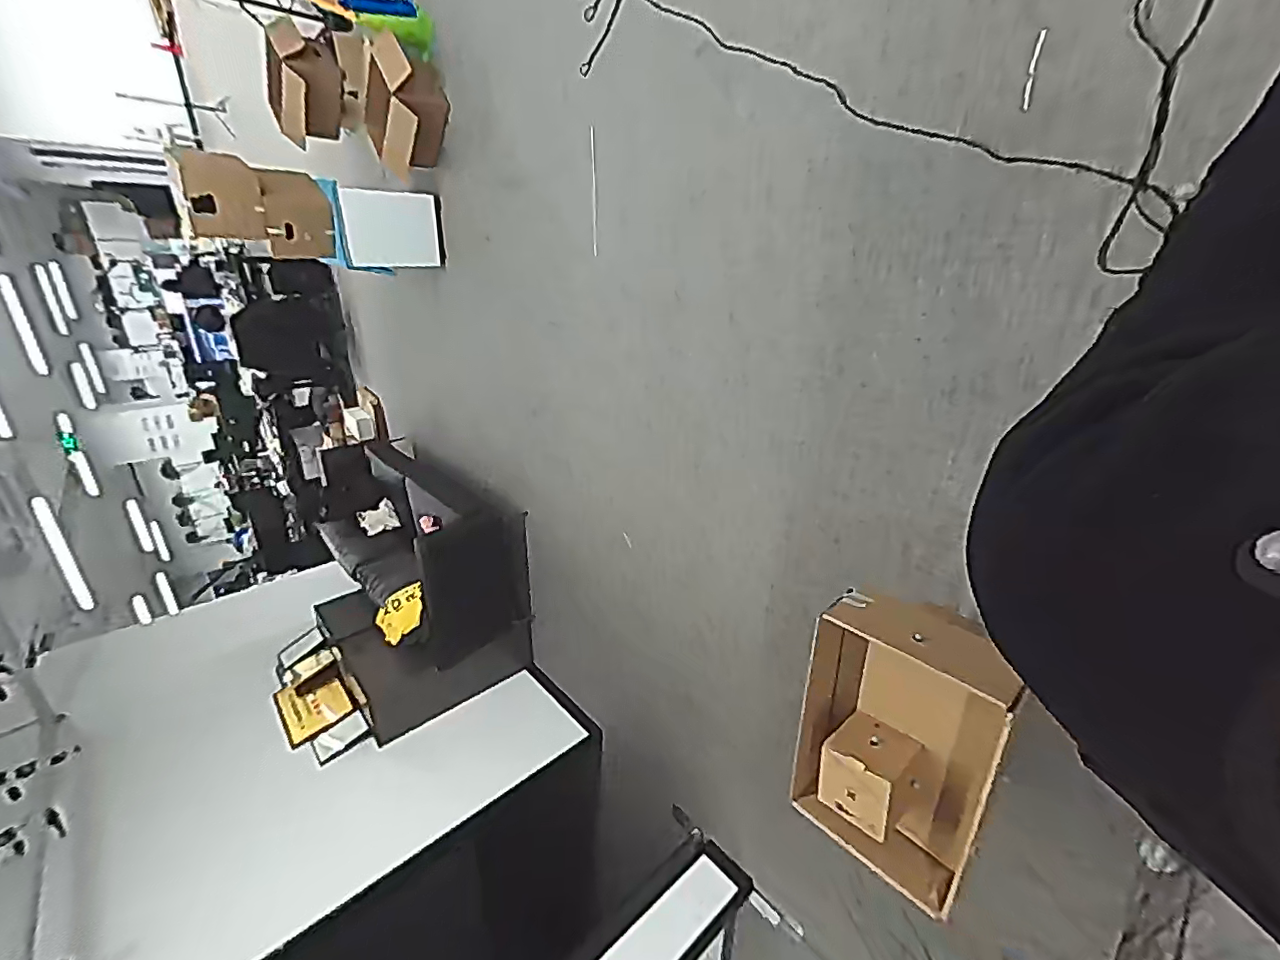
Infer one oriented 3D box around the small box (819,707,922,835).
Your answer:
[{"bbox_3d":[0.555,0.687,1.302,0.168,0.176,0.179,18,116,46],"label":"small box"}]
